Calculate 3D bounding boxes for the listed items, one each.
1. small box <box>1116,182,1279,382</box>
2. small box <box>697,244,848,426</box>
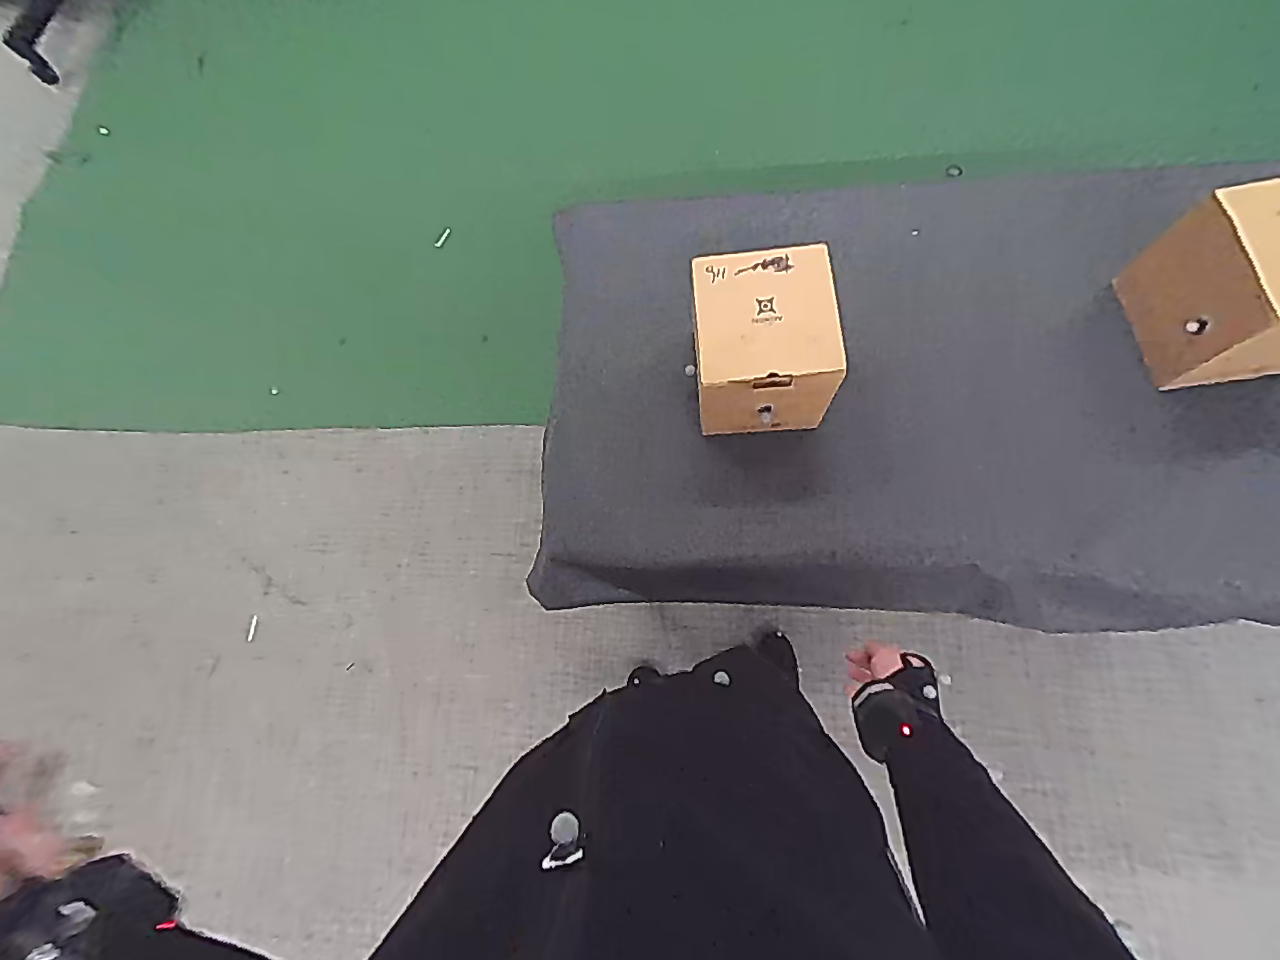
[{"bbox_3d":[0.749,-0.233,0.660,0.168,0.176,0.179,-8,72,4],"label":"small box"},{"bbox_3d":[0.164,-0.178,0.719,0.168,0.176,0.179,-3,74,6],"label":"small box"}]
